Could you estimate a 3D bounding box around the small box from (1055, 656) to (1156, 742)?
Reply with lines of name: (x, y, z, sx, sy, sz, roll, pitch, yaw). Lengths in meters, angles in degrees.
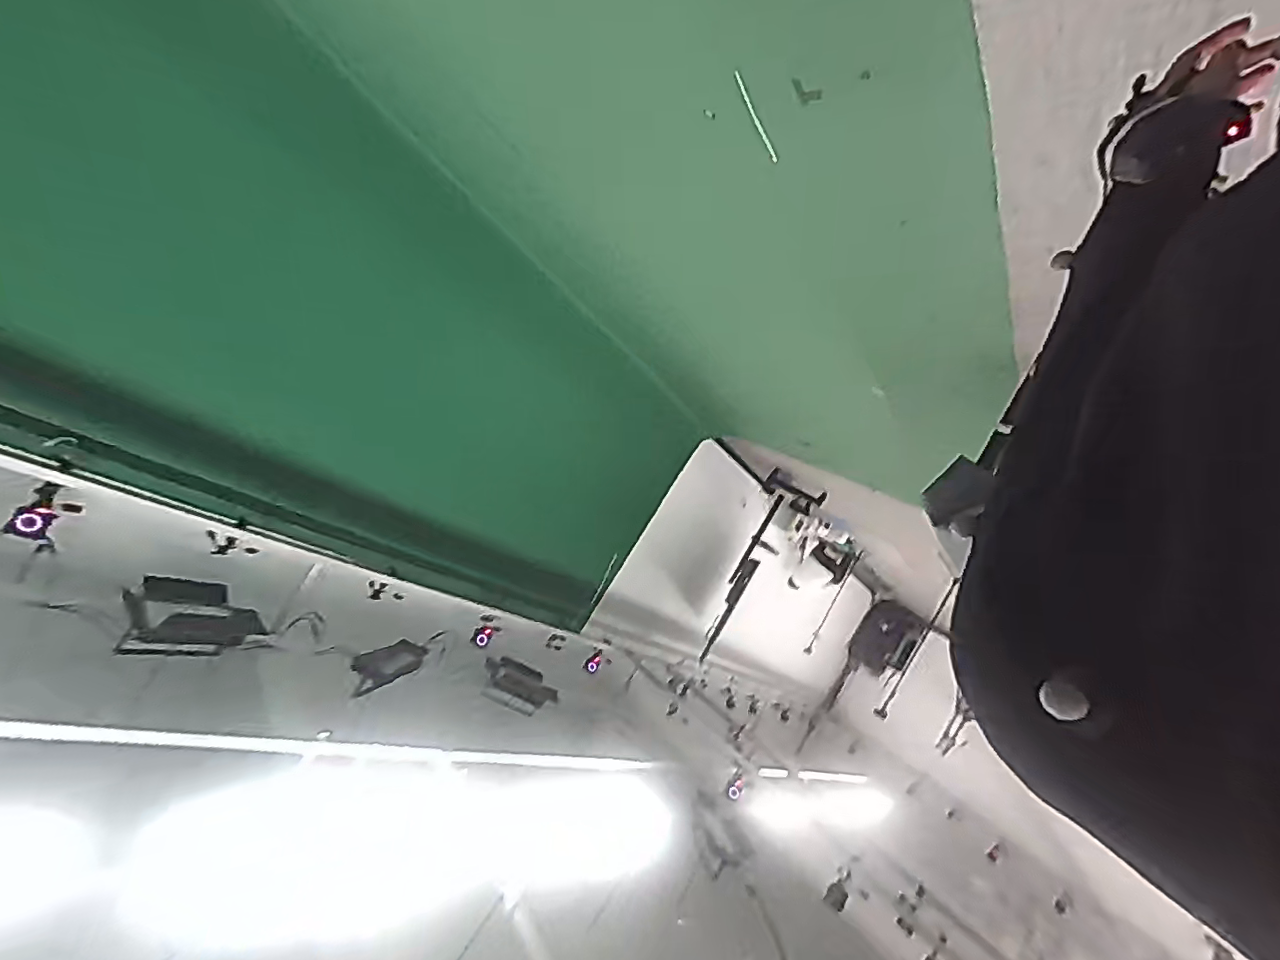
small box: (1.355, 0.637, 1.580, 0.168, 0.176, 0.179, 30, 177, 39)
